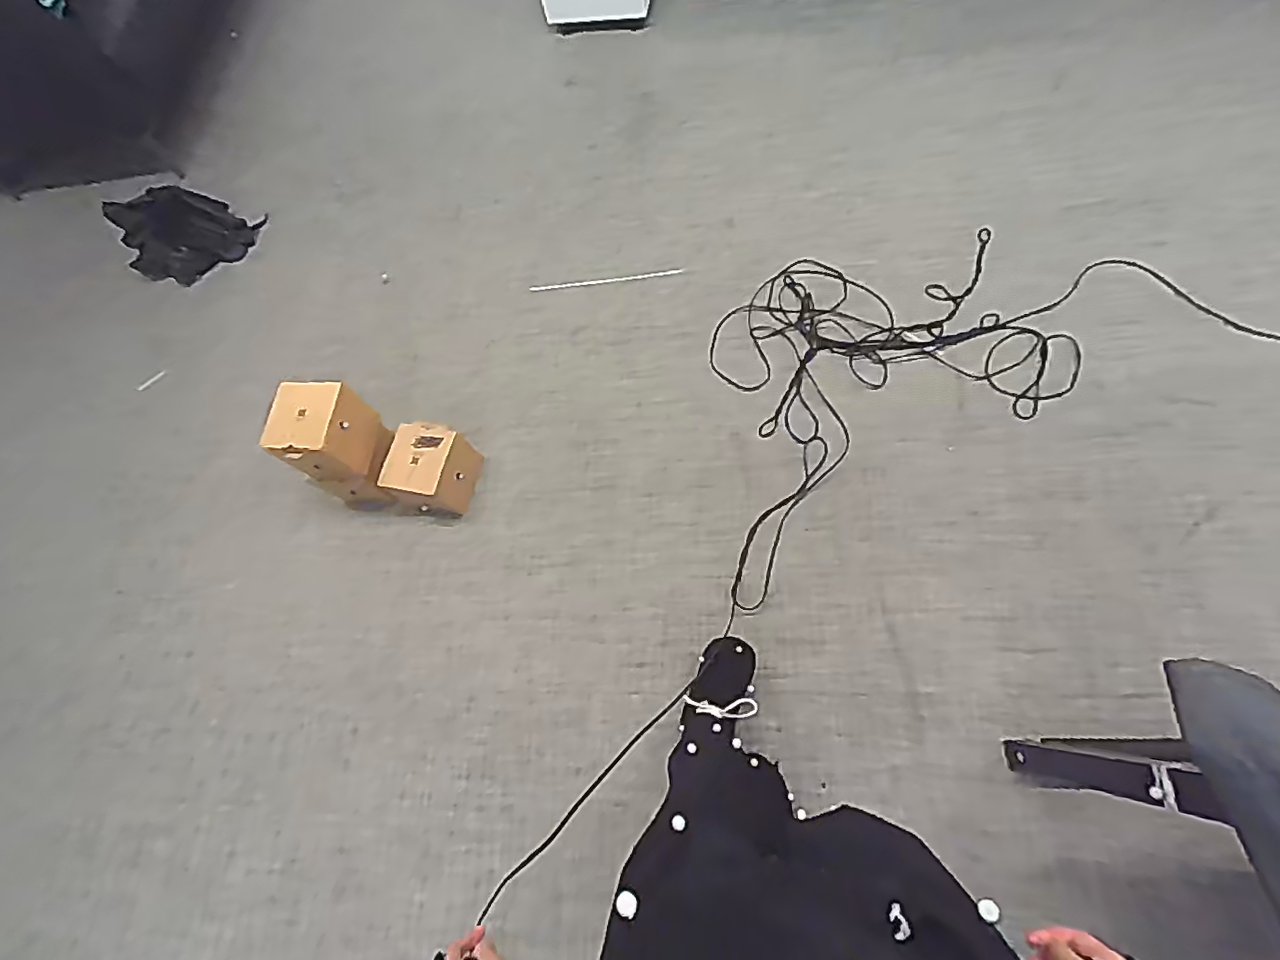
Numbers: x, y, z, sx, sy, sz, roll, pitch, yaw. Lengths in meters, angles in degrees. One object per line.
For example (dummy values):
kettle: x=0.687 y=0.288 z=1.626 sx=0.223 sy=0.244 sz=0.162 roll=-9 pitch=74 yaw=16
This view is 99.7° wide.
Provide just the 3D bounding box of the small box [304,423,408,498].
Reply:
small box: x=-0.759 y=-0.054 z=1.465 sx=0.168 sy=0.176 sz=0.179 roll=1 pitch=70 yaw=9

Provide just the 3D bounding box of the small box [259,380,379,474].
small box: x=-0.770 y=-0.126 z=1.318 sx=0.168 sy=0.176 sz=0.179 roll=1 pitch=69 yaw=9
